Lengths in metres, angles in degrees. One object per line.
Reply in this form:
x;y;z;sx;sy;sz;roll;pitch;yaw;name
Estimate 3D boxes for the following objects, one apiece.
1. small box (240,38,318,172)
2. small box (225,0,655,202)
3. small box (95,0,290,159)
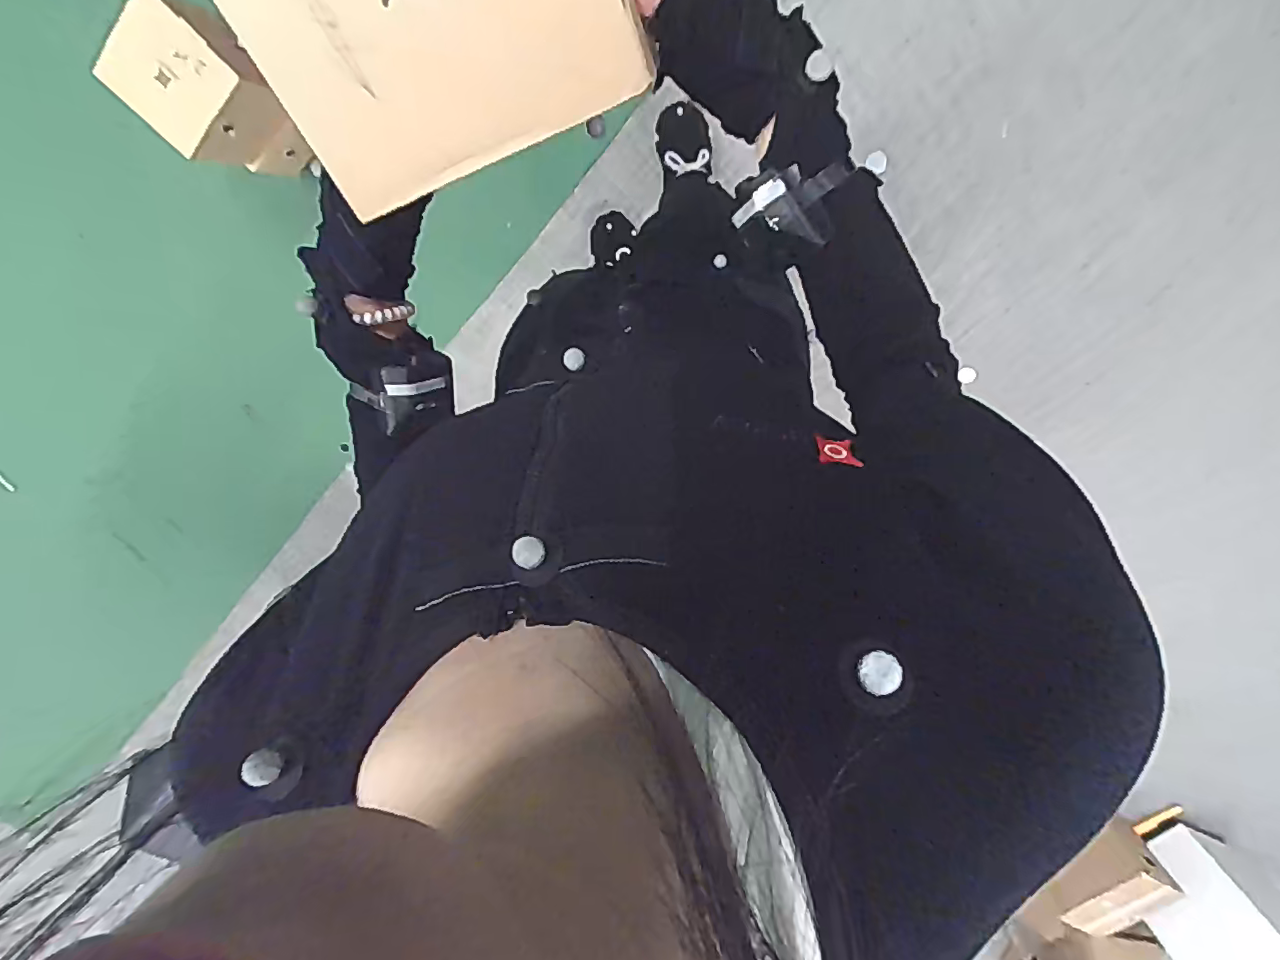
-0.764;-0.758;1.096;0.168;0.176;0.179;-37;111;17;small box
-0.099;-0.282;0.288;0.179;0.176;0.168;-15;127;15;small box
-0.762;-0.694;0.943;0.179;0.176;0.168;-38;112;17;small box
